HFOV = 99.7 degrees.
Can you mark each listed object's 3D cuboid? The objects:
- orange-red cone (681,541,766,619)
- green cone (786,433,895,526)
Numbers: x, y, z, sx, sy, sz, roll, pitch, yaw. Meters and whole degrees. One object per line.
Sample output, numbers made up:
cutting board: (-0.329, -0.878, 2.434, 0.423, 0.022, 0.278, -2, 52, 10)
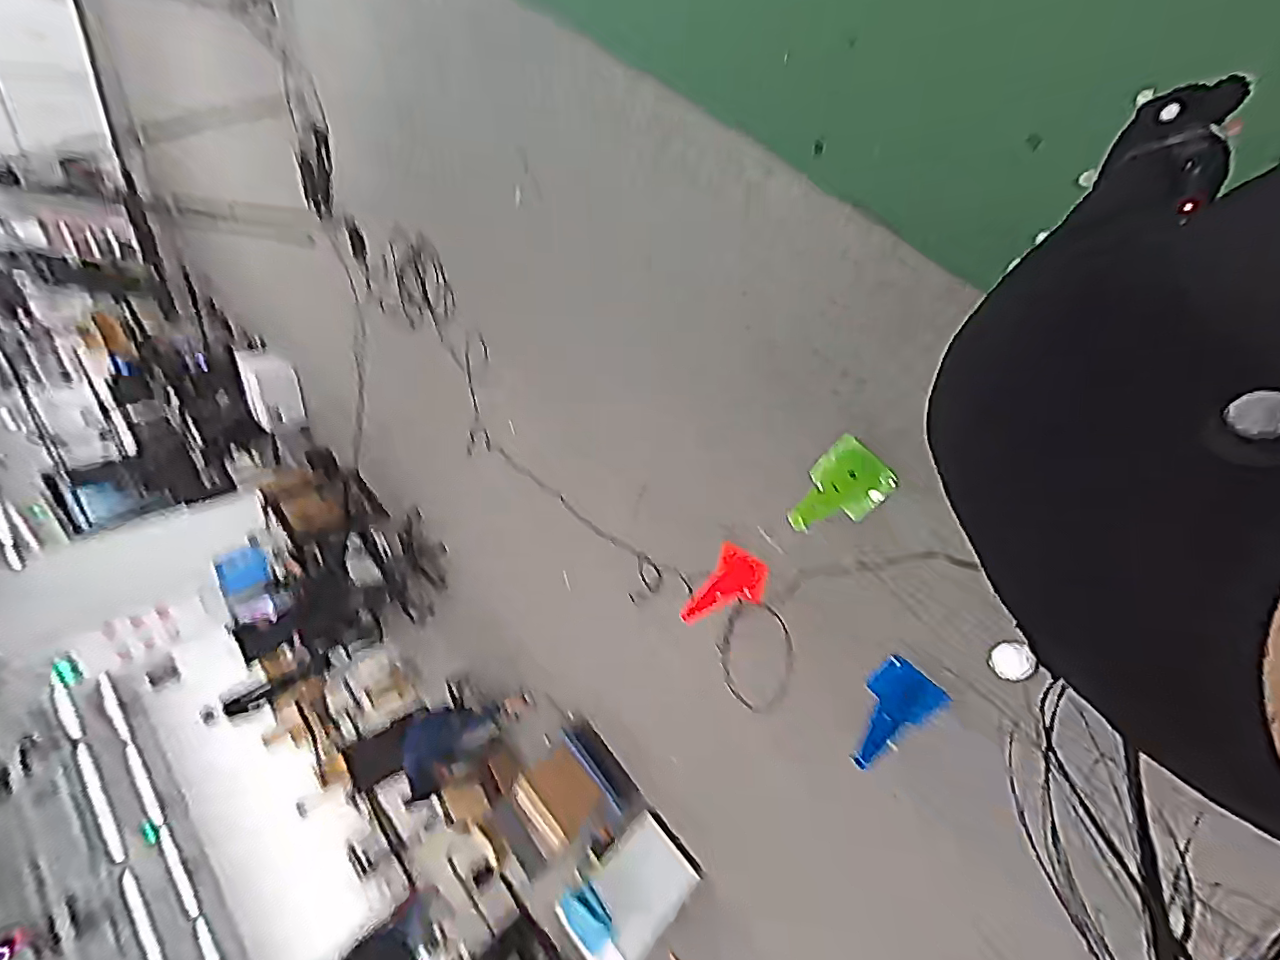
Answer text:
orange-red cone: (0.267, 0.401, 1.954, 0.198, 0.360, 0.199, 30, 127, 31)
green cone: (0.519, 0.037, 1.518, 0.200, 0.368, 0.202, 48, 137, 18)
